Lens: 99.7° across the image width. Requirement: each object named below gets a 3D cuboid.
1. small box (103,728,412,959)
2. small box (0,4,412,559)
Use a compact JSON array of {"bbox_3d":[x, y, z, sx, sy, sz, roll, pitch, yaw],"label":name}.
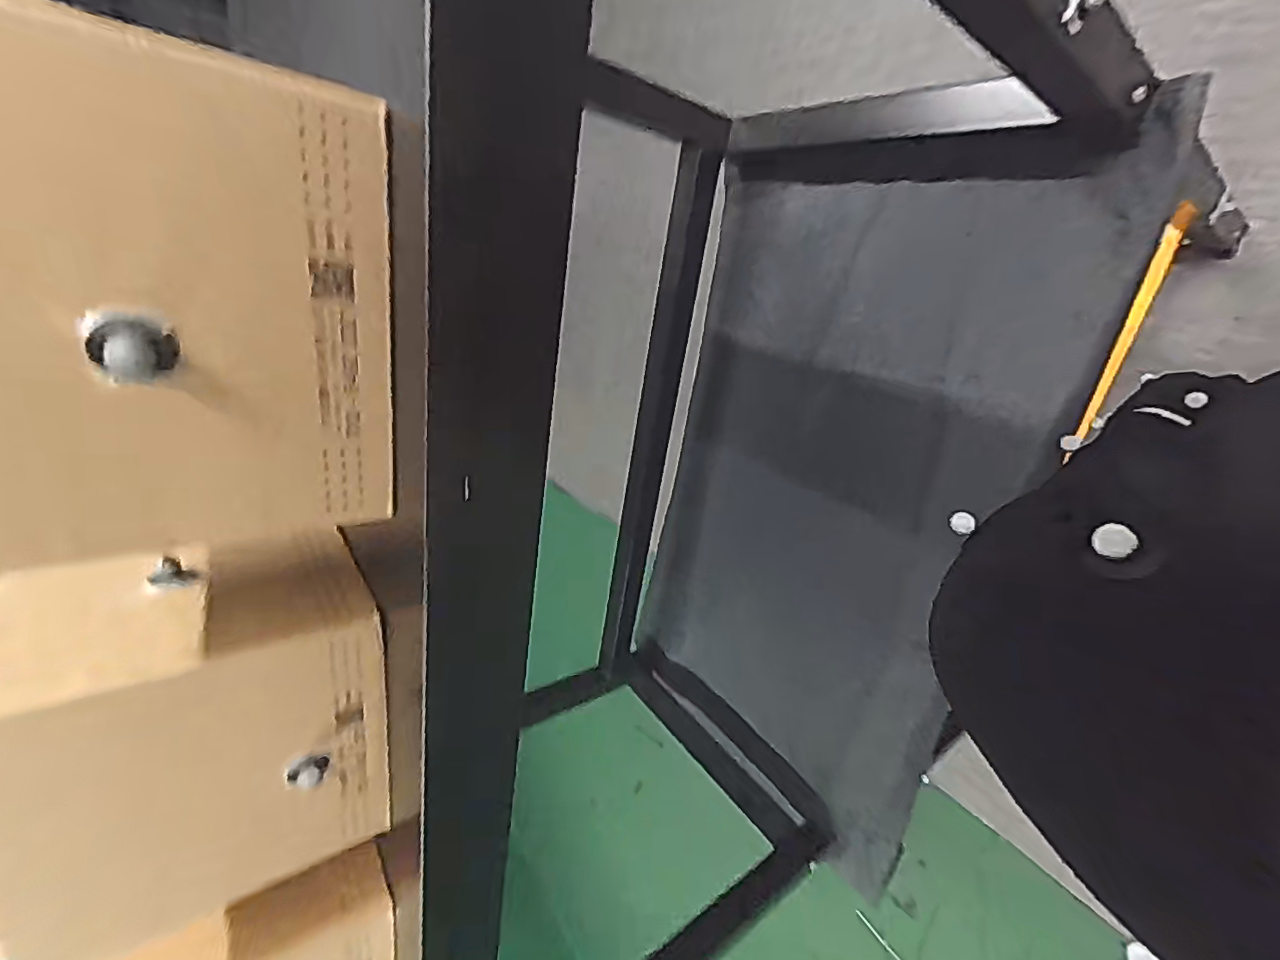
[{"bbox_3d":[-0.291,0.340,0.433,0.179,0.176,0.168,34,123,45],"label":"small box"},{"bbox_3d":[-0.210,-0.088,0.241,0.179,0.176,0.168,34,122,45],"label":"small box"}]
